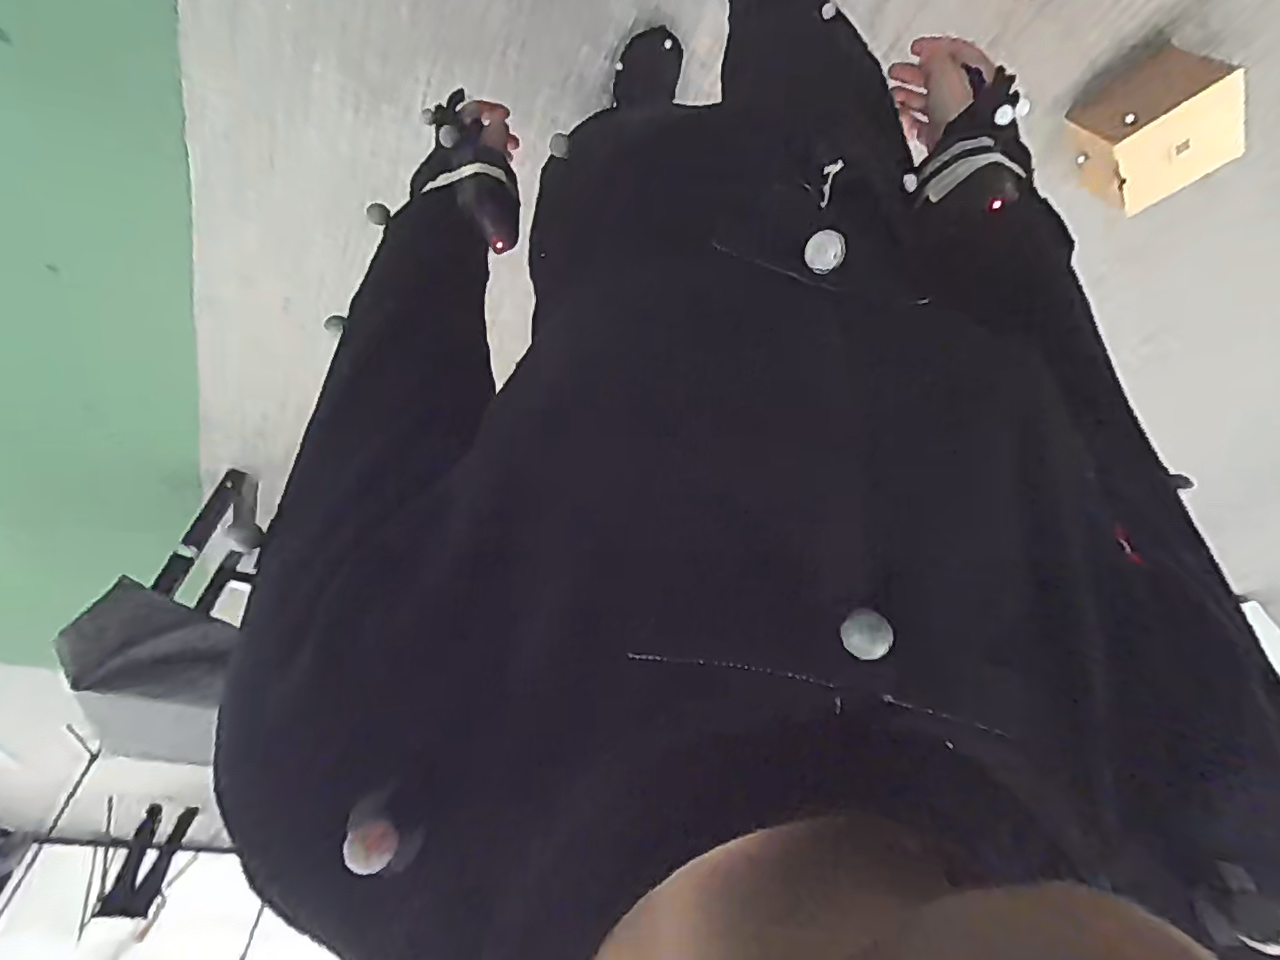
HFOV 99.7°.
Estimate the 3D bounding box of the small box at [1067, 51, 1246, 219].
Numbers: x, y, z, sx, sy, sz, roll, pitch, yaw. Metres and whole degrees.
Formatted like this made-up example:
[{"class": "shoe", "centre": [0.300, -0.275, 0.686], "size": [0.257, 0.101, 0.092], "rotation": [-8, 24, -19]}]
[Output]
[{"class": "small box", "centre": [0.934, -0.630, 0.987], "size": [0.179, 0.176, 0.168], "rotation": [-29, 131, 29]}]
